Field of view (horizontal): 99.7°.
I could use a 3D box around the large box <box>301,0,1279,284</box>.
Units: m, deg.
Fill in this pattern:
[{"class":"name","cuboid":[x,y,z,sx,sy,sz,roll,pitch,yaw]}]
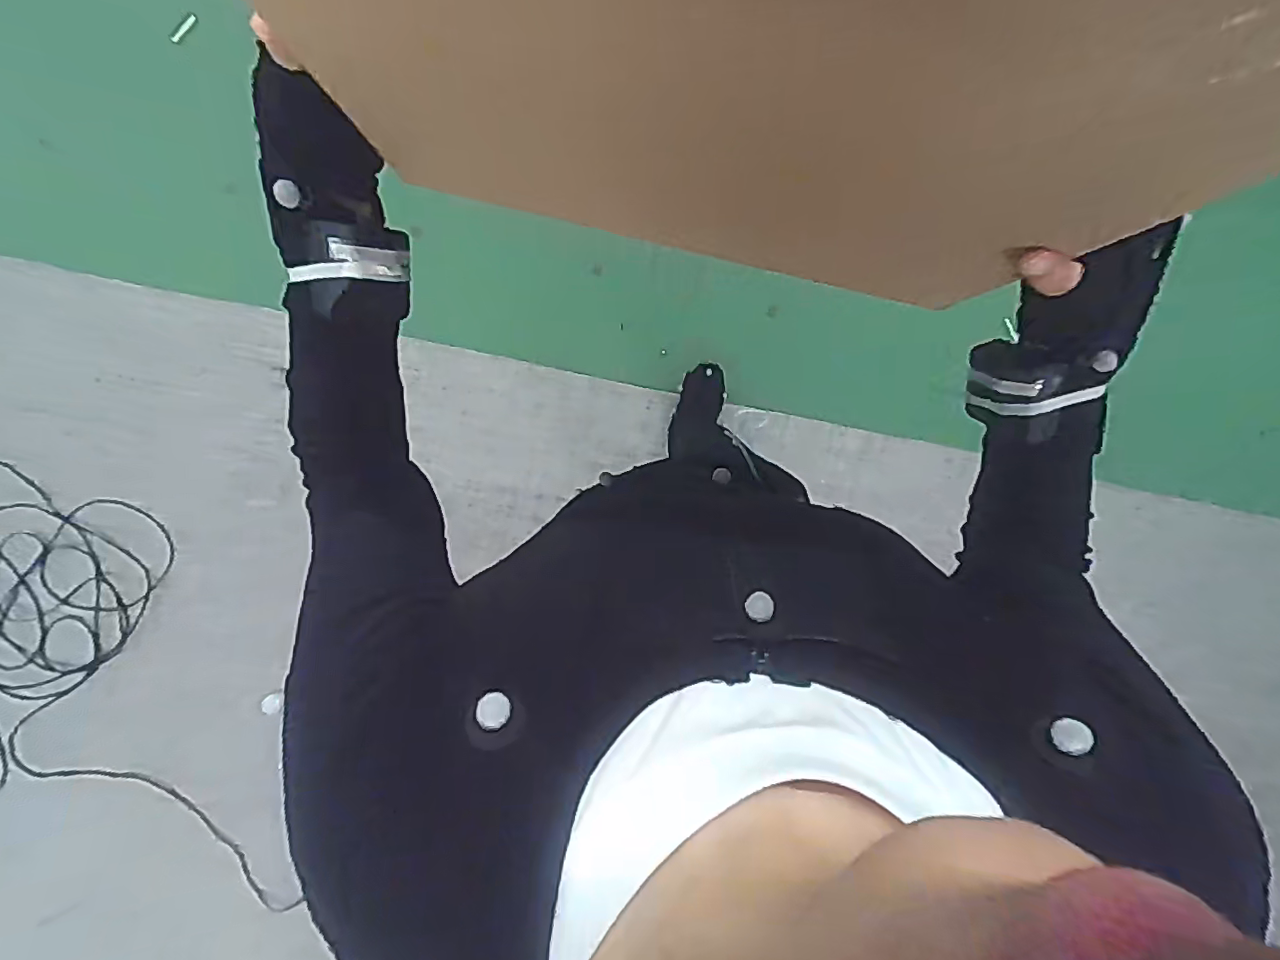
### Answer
[{"class":"large box","cuboid":[0.072,-0.316,0.230,0.408,0.320,0.320,12,94,-4]}]
